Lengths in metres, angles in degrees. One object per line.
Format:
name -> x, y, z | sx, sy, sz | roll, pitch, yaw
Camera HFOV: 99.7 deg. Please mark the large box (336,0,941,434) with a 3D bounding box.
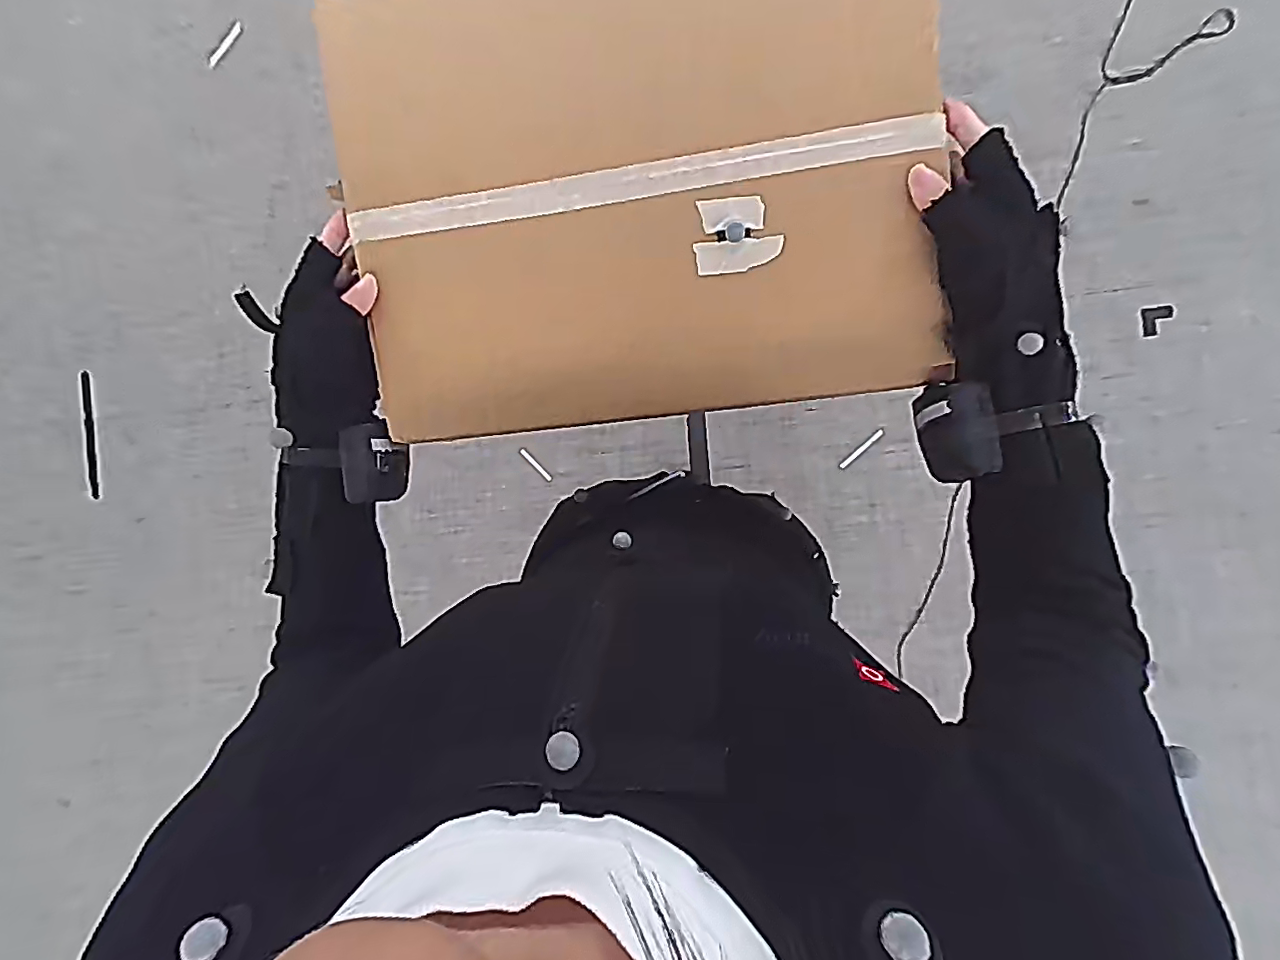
large box -> 0.008, -0.230, 0.528 | 0.408, 0.320, 0.320 | -6, 98, 6
